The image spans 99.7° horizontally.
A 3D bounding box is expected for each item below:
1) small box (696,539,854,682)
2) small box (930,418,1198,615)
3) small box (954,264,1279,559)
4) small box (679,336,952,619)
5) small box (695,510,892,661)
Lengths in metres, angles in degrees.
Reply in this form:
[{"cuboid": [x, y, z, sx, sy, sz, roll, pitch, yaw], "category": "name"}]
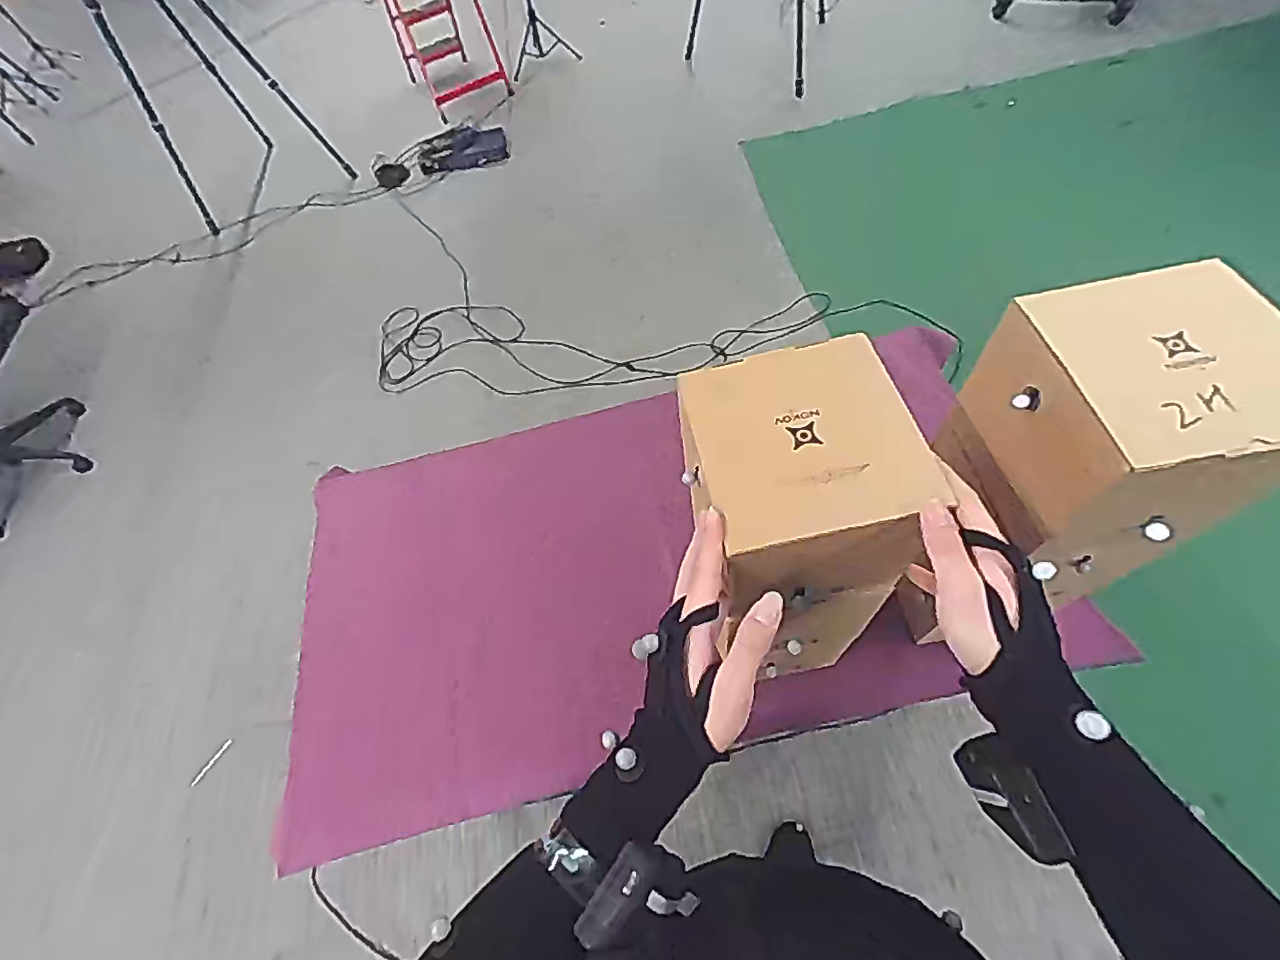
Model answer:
[{"cuboid": [0.181, 0.177, 0.765, 0.168, 0.176, 0.179, -12, 58, 2], "category": "small box"}, {"cuboid": [0.434, 0.033, 0.611, 0.168, 0.176, 0.179, -11, 58, 4], "category": "small box"}, {"cuboid": [0.411, -0.051, 0.471, 0.168, 0.176, 0.179, -10, 59, 4], "category": "small box"}, {"cuboid": [0.134, 0.006, 0.487, 0.168, 0.176, 0.179, -12, 59, 2], "category": "small box"}, {"cuboid": [0.159, 0.092, 0.626, 0.168, 0.176, 0.179, -12, 58, 3], "category": "small box"}]
